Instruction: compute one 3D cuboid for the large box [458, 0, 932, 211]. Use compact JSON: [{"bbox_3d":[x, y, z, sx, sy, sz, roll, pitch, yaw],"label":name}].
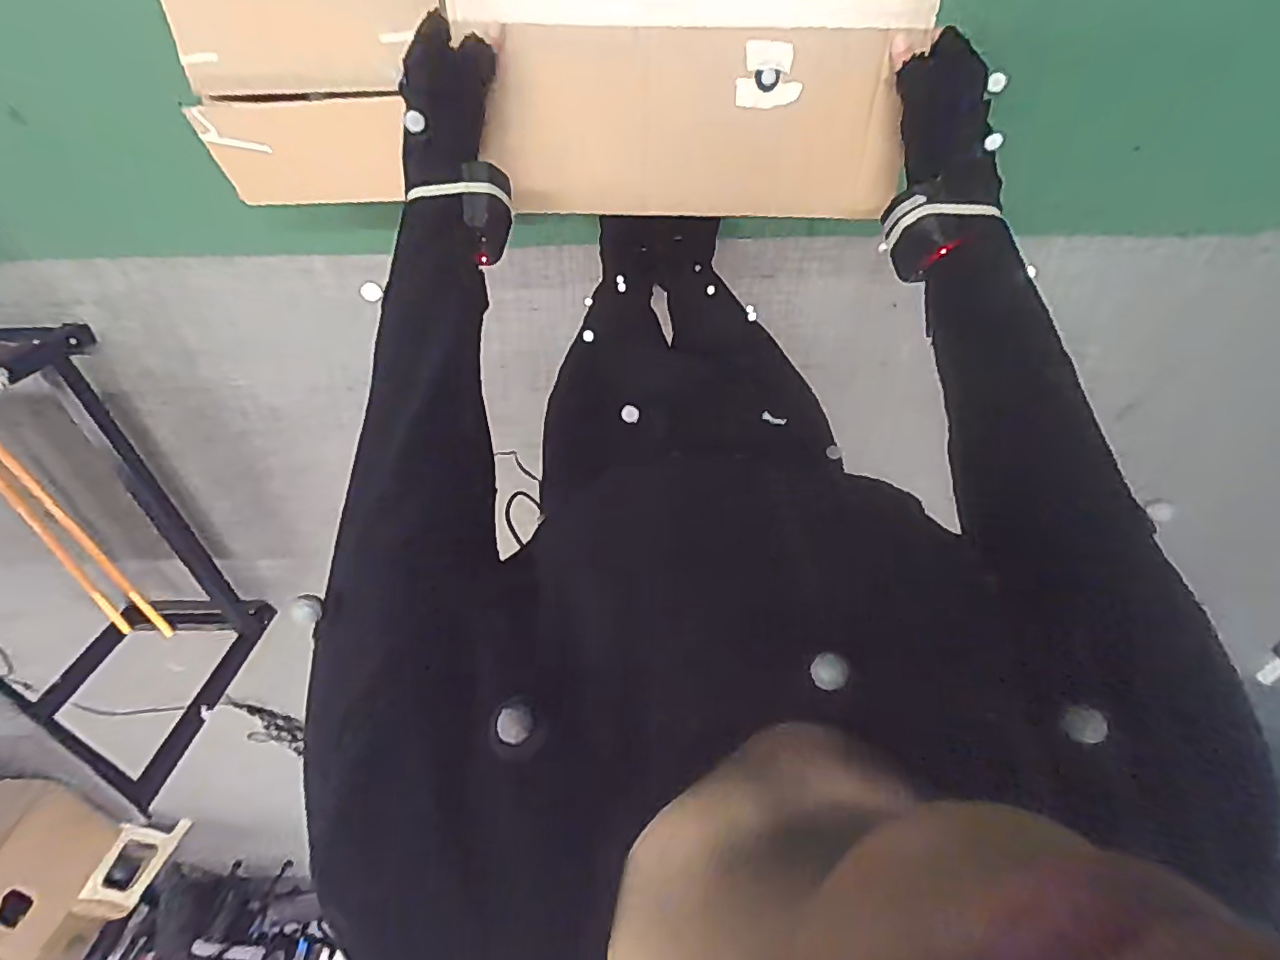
[{"bbox_3d":[0.043,-0.476,0.576,0.408,0.320,0.320,0,123,-1],"label":"large box"}]
